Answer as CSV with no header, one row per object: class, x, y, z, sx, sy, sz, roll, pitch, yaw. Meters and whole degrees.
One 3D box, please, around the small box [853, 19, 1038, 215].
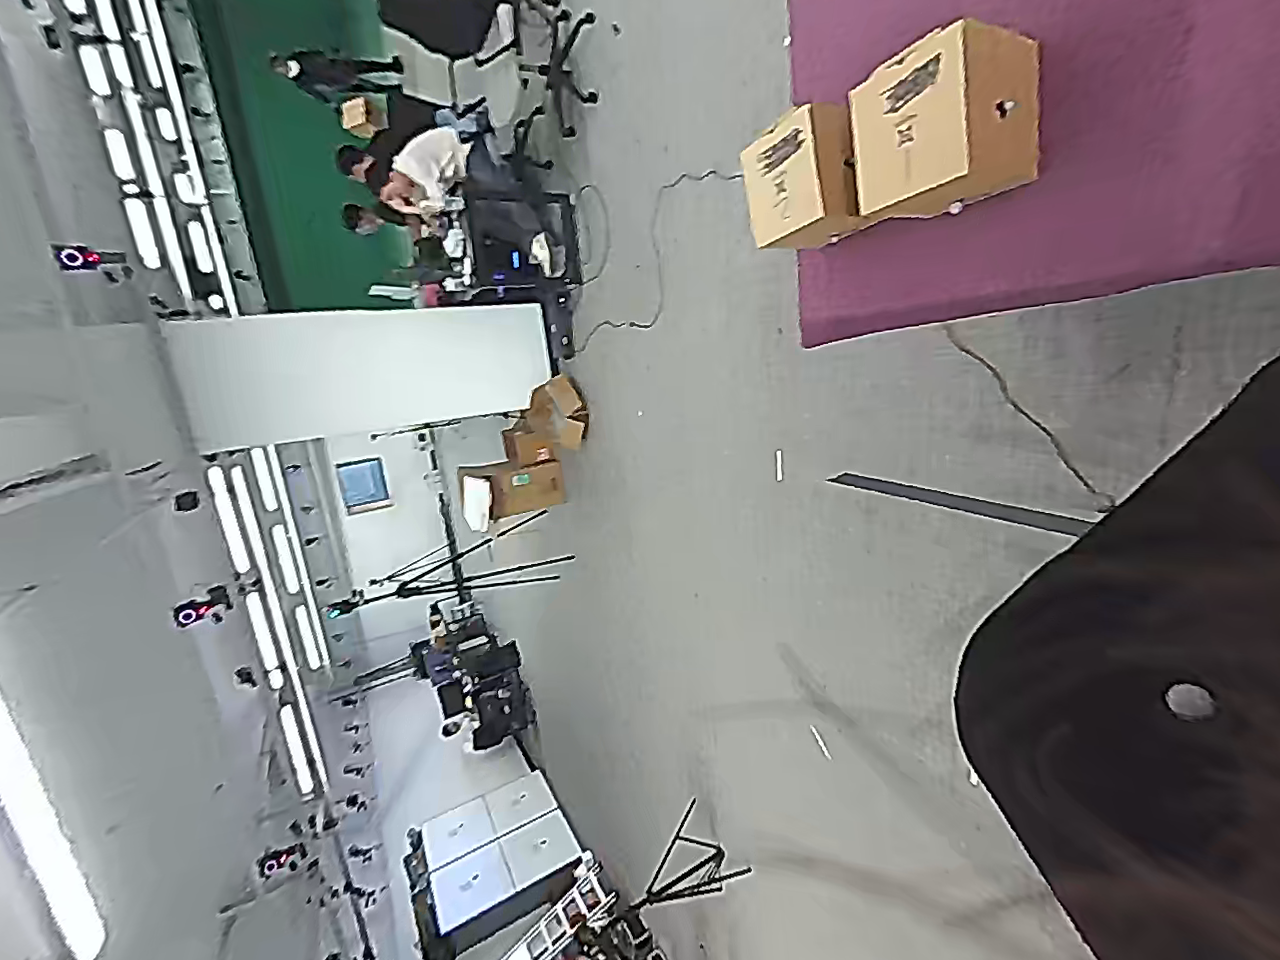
small box,0.428,-0.489,0.761,0.168,0.176,0.179,11,113,61
